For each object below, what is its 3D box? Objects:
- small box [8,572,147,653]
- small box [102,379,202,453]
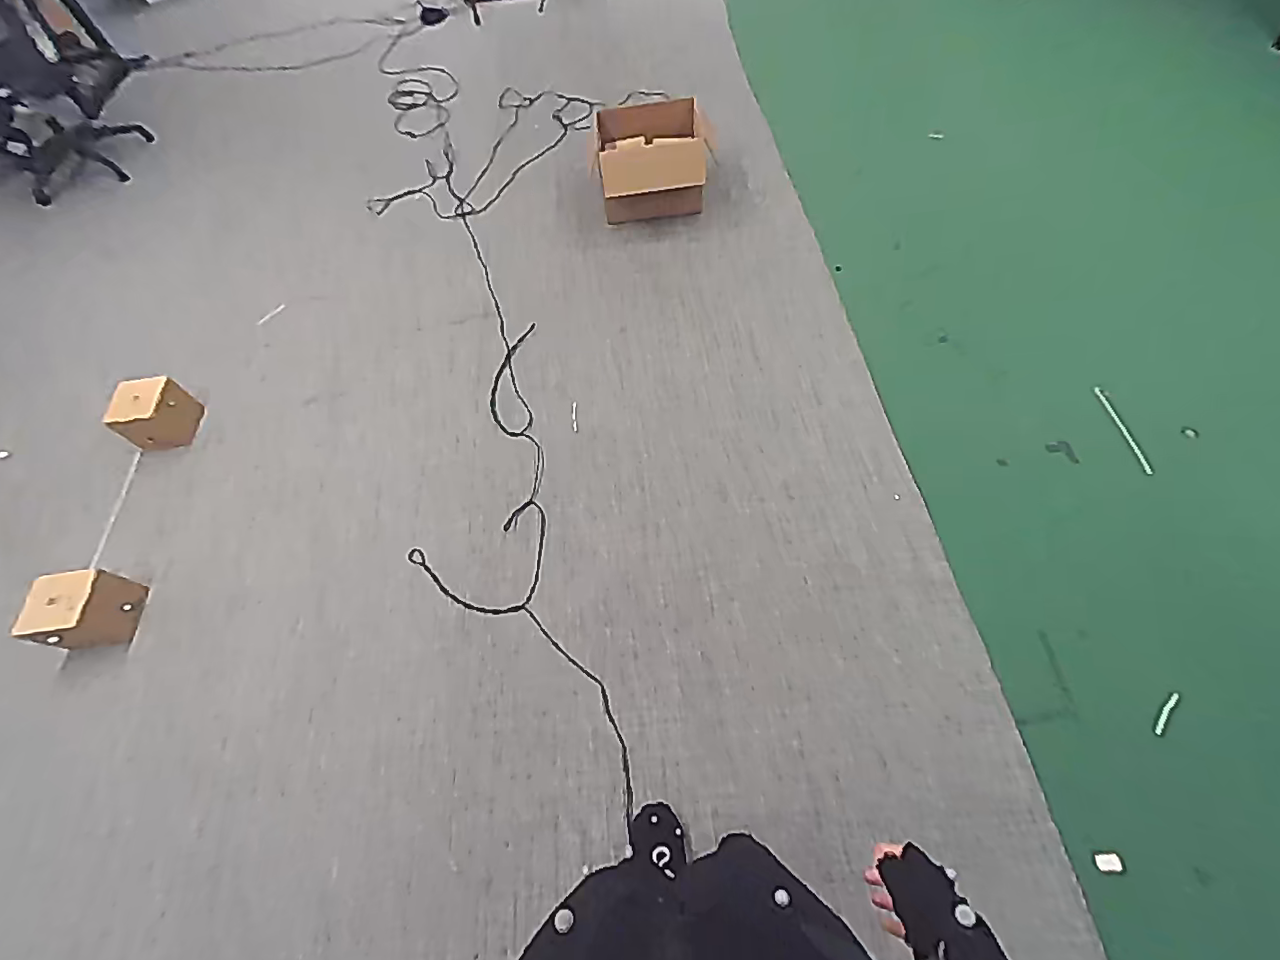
[{"bbox_3d":[-1.542,0.370,1.496,0.179,0.176,0.168,-9,61,0],"label":"small box"},{"bbox_3d":[-1.644,-0.216,1.836,0.168,0.176,0.179,-8,61,0],"label":"small box"}]
